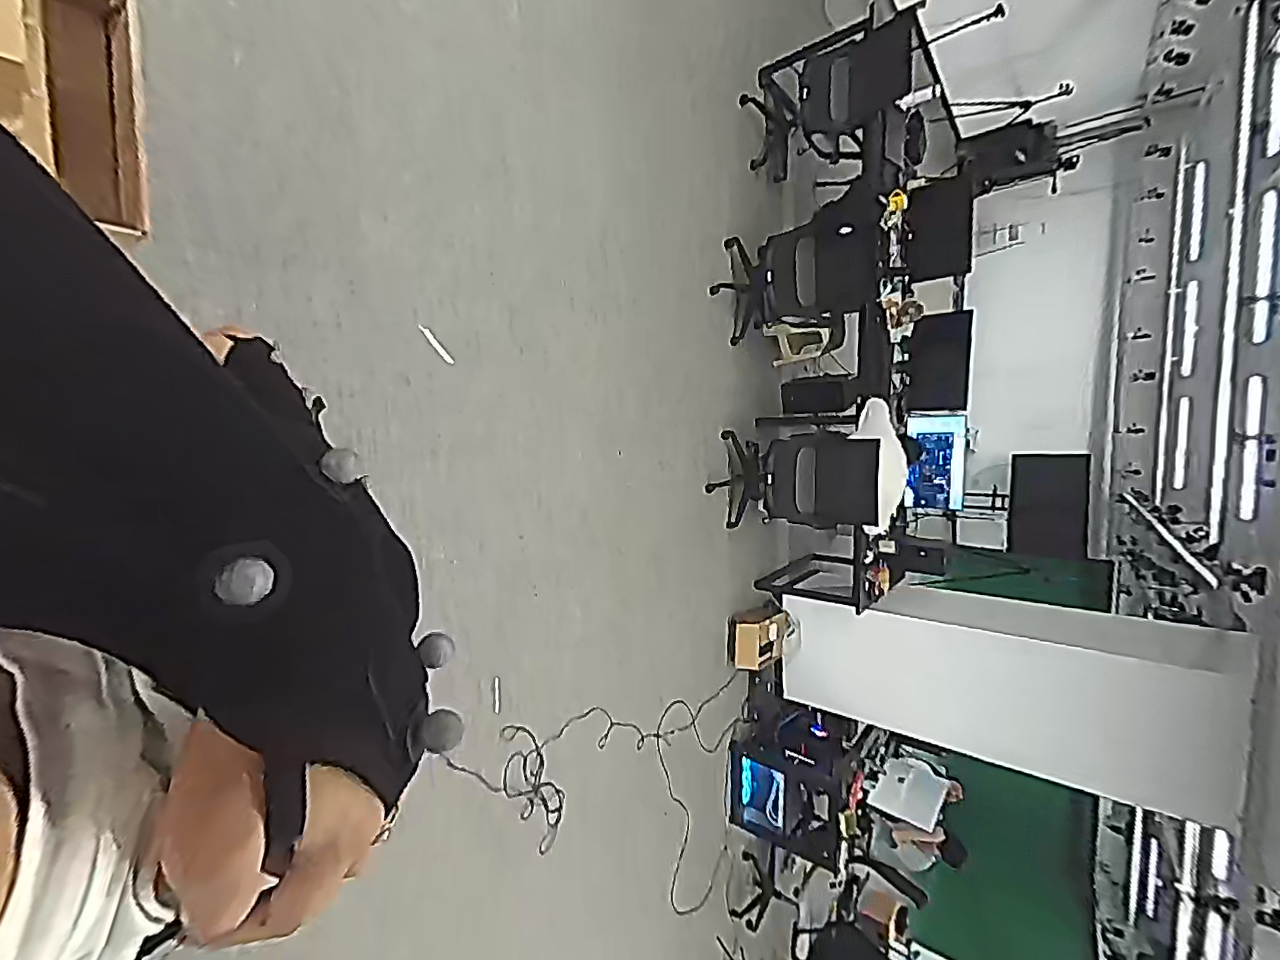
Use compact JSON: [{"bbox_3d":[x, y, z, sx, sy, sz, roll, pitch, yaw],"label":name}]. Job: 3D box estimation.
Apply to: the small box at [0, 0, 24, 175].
[{"bbox_3d":[-0.937,-0.542,0.708,0.168,0.176,0.179,-1,93,-50],"label":"small box"}]
